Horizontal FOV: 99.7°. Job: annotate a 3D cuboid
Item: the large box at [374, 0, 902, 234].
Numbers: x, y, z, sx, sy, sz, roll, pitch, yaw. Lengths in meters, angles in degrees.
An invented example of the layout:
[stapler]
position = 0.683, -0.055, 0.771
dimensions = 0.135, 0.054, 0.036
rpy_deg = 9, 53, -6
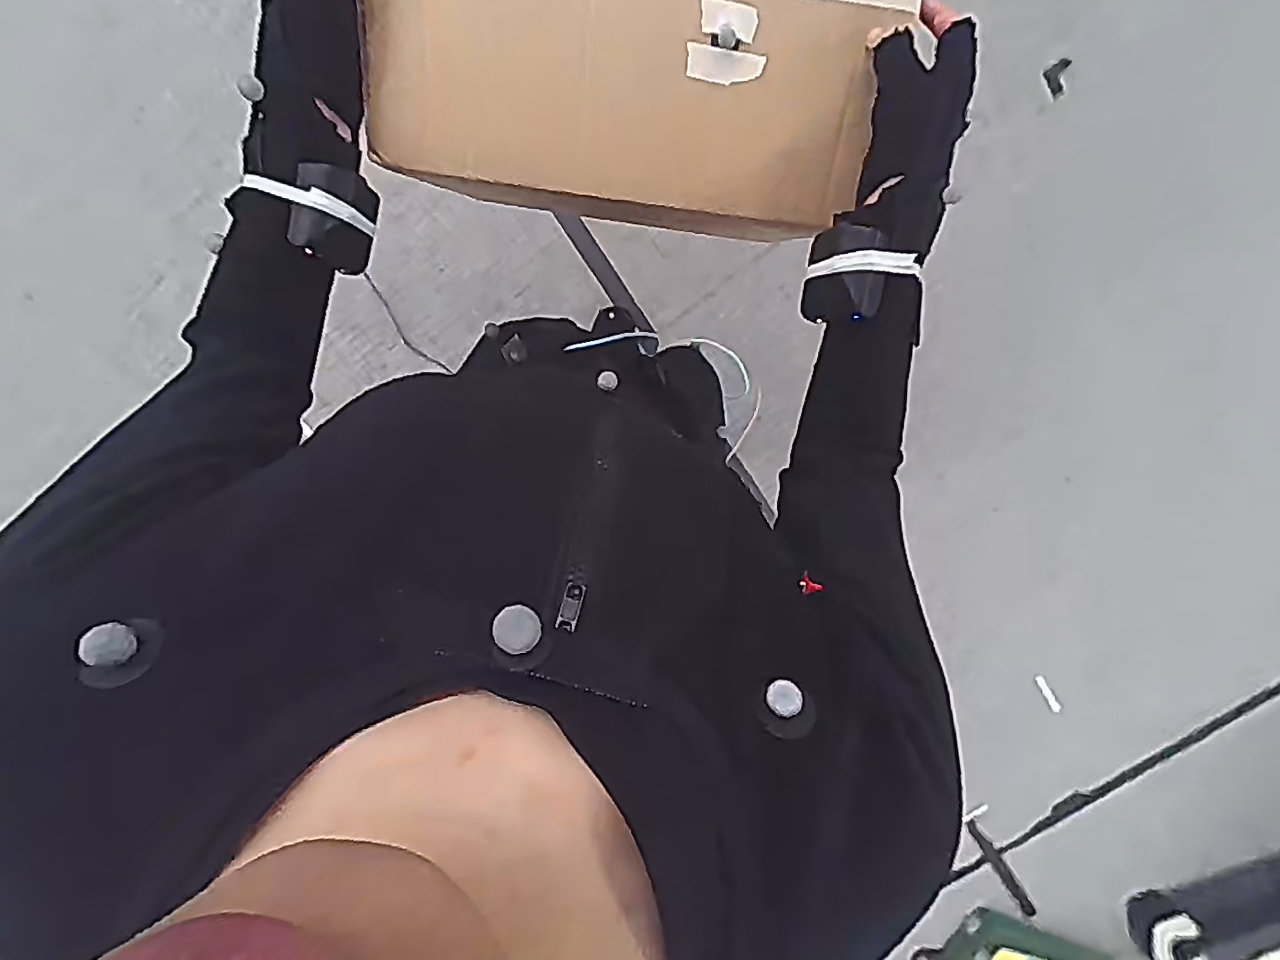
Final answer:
[large box]
position = -0.002, -0.438, 0.535
dimensions = 0.408, 0.320, 0.320
rpy_deg = 6, 113, -4
